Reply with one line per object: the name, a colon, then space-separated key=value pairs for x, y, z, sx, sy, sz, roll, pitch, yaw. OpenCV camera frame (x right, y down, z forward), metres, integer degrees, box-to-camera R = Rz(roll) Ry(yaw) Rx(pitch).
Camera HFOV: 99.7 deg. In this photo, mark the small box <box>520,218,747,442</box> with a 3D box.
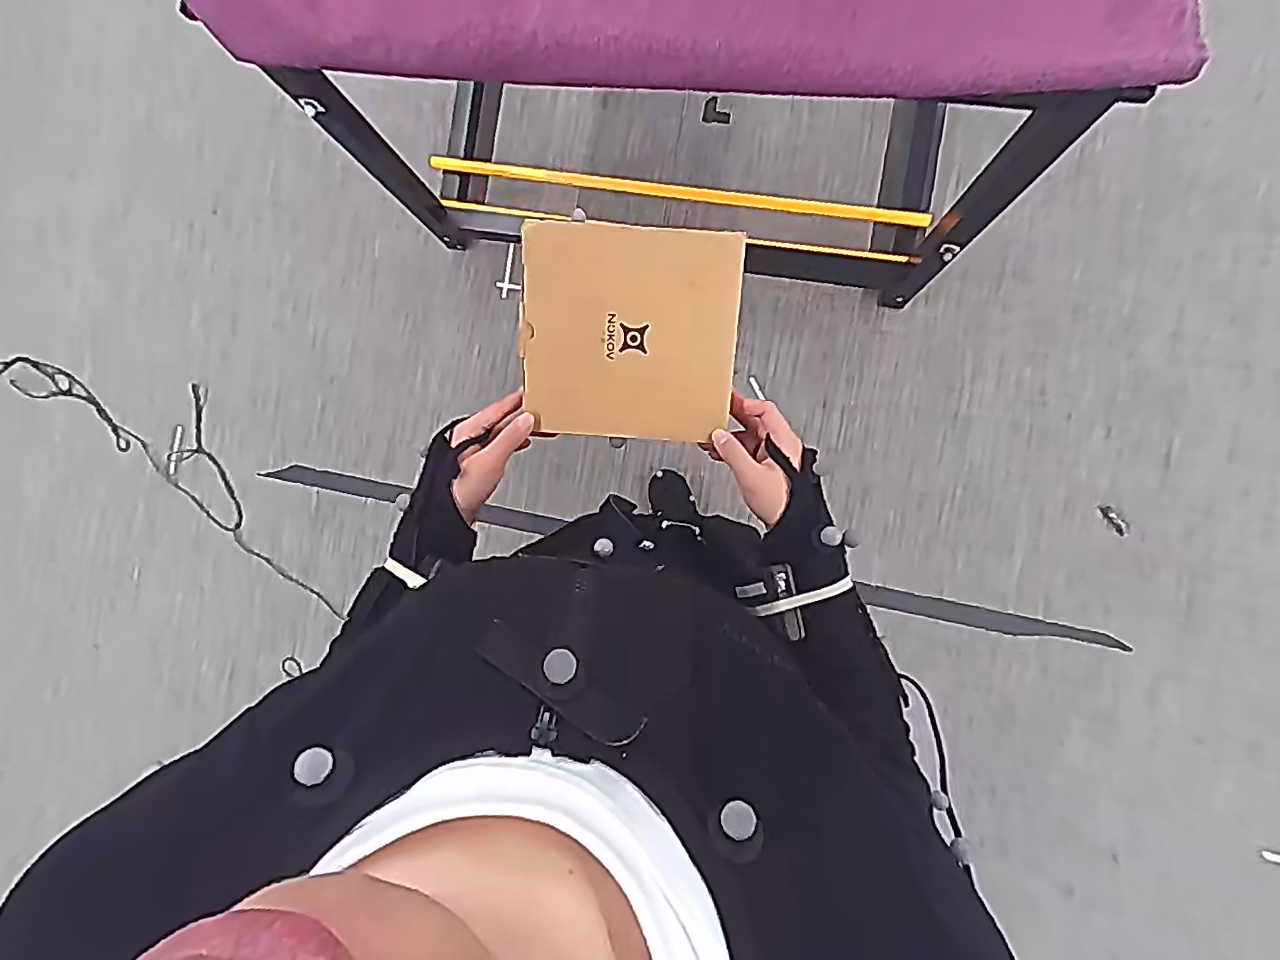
small box: x=-0.005 y=-0.137 z=0.507 sx=0.179 sy=0.176 sz=0.168 roll=4 pitch=105 yaw=3
